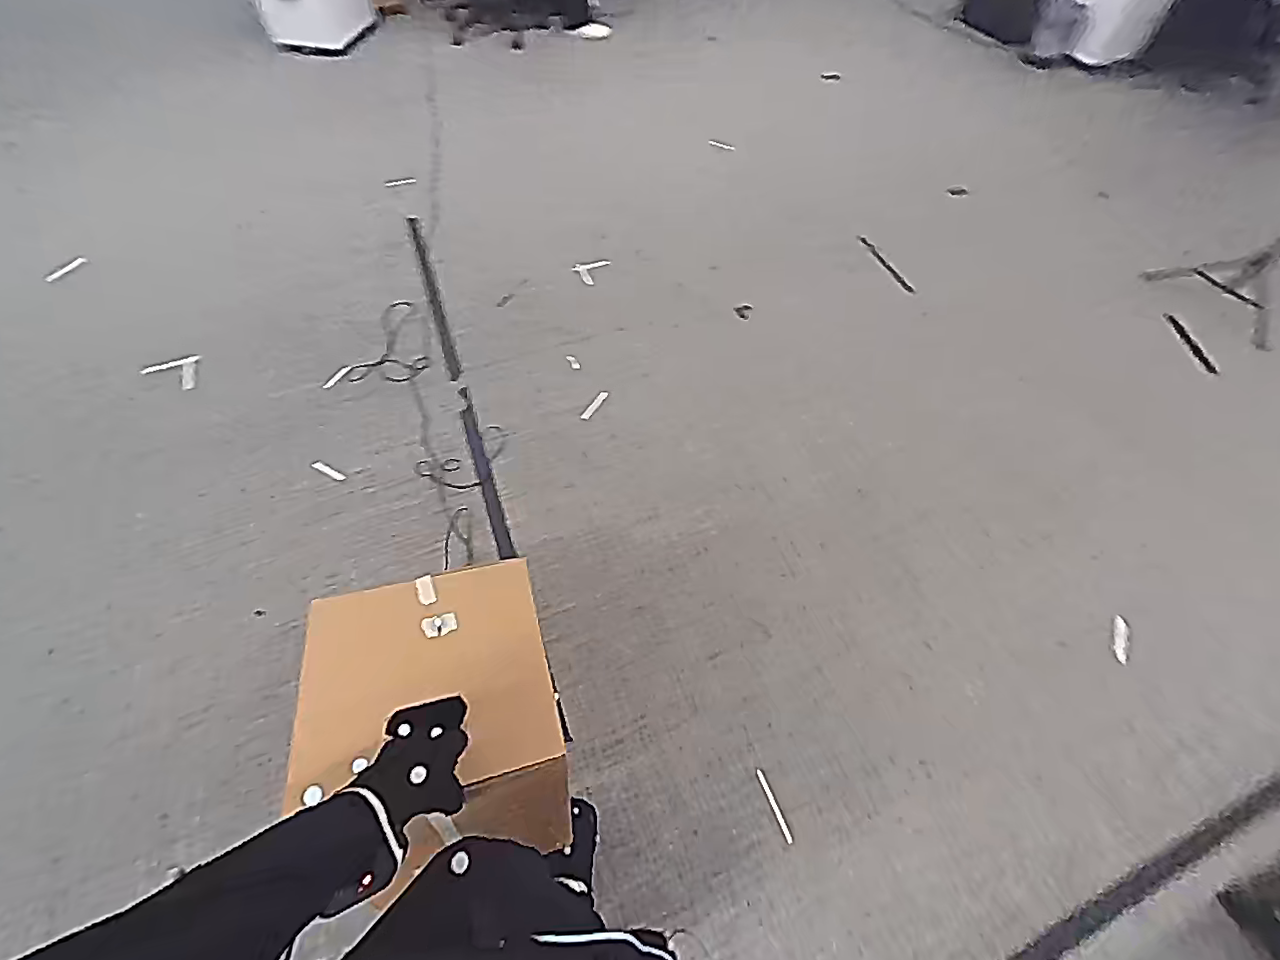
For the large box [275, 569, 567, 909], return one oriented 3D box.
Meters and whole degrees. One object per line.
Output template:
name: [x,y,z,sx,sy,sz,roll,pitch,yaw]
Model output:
large box: [-0.311,0.406,0.856,0.320,0.408,0.320,-11,46,-15]
